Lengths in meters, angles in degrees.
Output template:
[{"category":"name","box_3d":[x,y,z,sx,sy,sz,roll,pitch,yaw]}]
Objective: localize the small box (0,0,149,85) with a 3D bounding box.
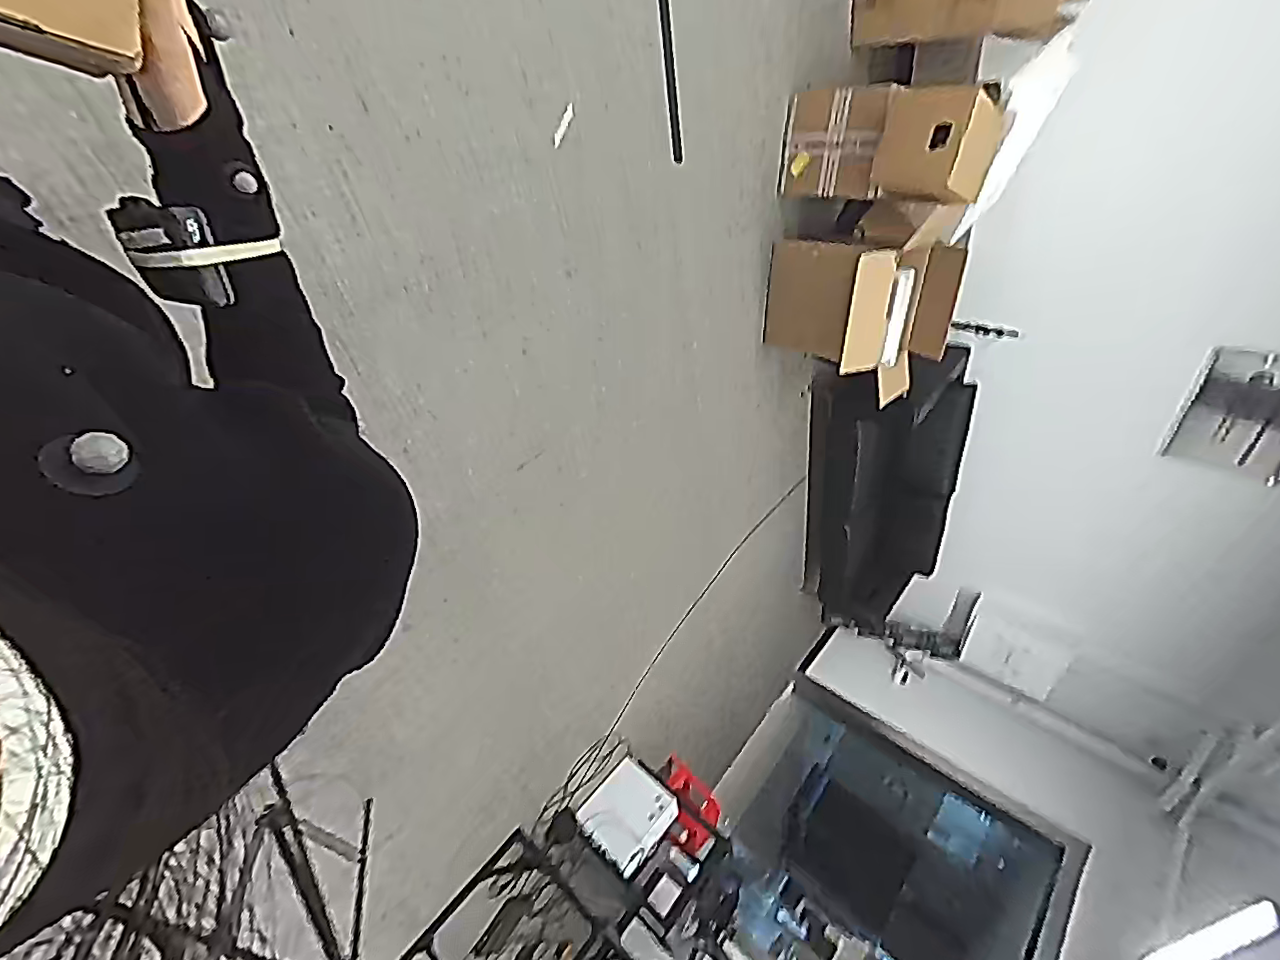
[{"category":"small box","box_3d":[-0.320,-0.286,0.210,0.168,0.176,0.179,-12,124,-47]}]

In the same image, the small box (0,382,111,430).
[{"category":"small box","box_3d":[-1.112,-0.068,1.016,0.179,0.176,0.168,-34,133,-36]}]

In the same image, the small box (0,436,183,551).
[{"category":"small box","box_3d":[-0.868,0.051,0.835,0.179,0.176,0.168,-33,132,-36]}]

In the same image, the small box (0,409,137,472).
[{"category":"small box","box_3d":[-0.989,-0.008,0.925,0.179,0.176,0.168,-31,131,-39]}]

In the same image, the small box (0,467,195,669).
[{"category":"small box","box_3d":[-0.754,0.108,0.729,0.168,0.176,0.179,-35,132,-37]}]
